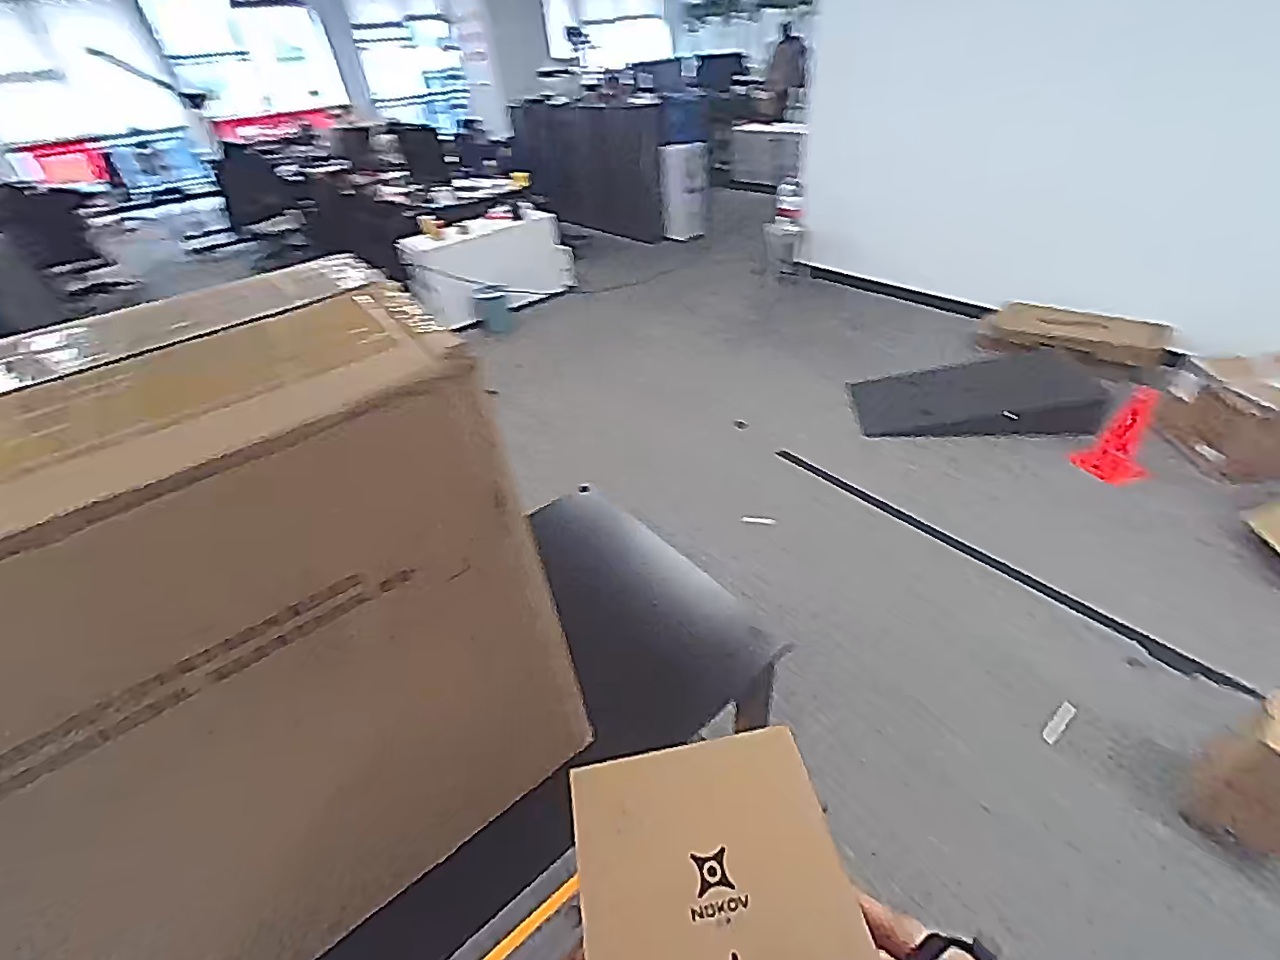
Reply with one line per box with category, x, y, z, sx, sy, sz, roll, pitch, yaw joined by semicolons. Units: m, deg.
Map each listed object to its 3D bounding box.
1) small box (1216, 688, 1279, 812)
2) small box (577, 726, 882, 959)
small box;1.364;0.580;1.122;0.168;0.176;0.179;-34;46;-29
small box;0.051;0.307;0.379;0.168;0.176;0.179;-9;42;-5
